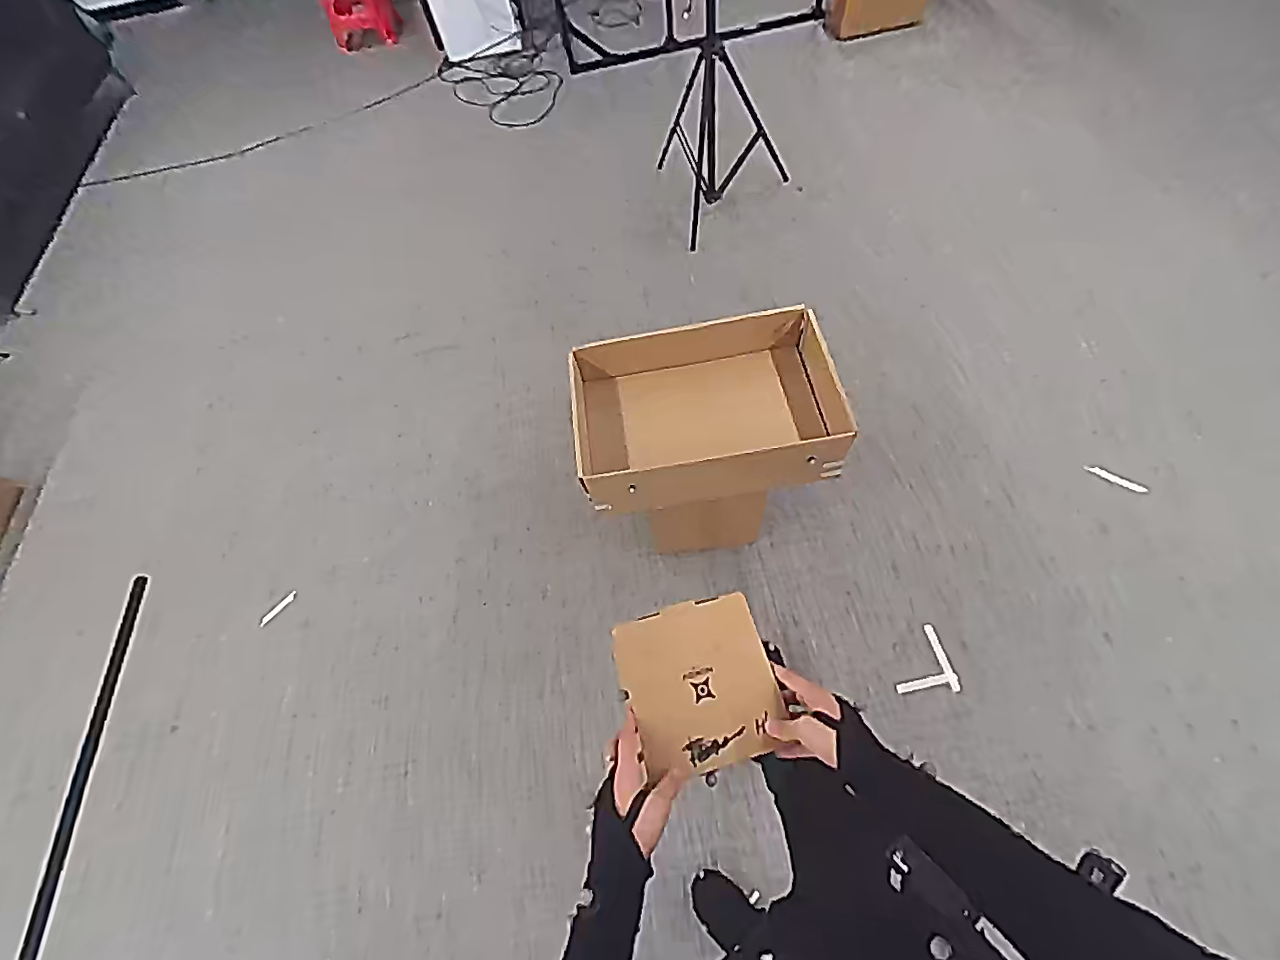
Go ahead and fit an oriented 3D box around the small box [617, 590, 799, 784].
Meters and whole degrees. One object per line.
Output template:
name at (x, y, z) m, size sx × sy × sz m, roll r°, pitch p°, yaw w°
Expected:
small box at (0.070, 0.261, 0.677) m, size 0.168 × 0.176 × 0.179 m, roll -14°, pitch 64°, yaw -8°
